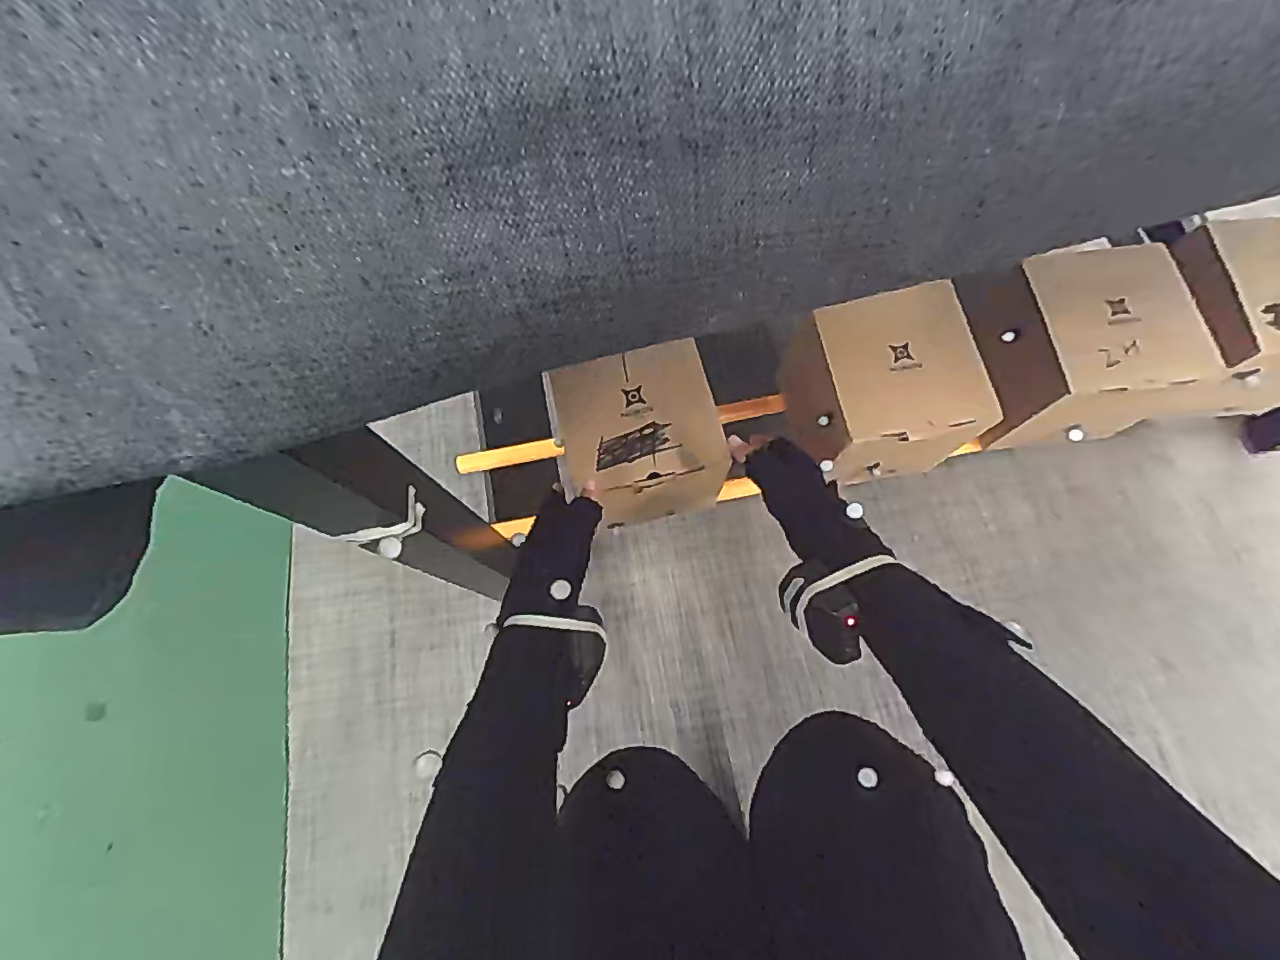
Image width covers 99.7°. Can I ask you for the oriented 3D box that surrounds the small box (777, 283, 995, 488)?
[{"bbox_3d":[0.277,-0.106,0.658,0.168,0.176,0.179,-9,72,-1],"label":"small box"}]
